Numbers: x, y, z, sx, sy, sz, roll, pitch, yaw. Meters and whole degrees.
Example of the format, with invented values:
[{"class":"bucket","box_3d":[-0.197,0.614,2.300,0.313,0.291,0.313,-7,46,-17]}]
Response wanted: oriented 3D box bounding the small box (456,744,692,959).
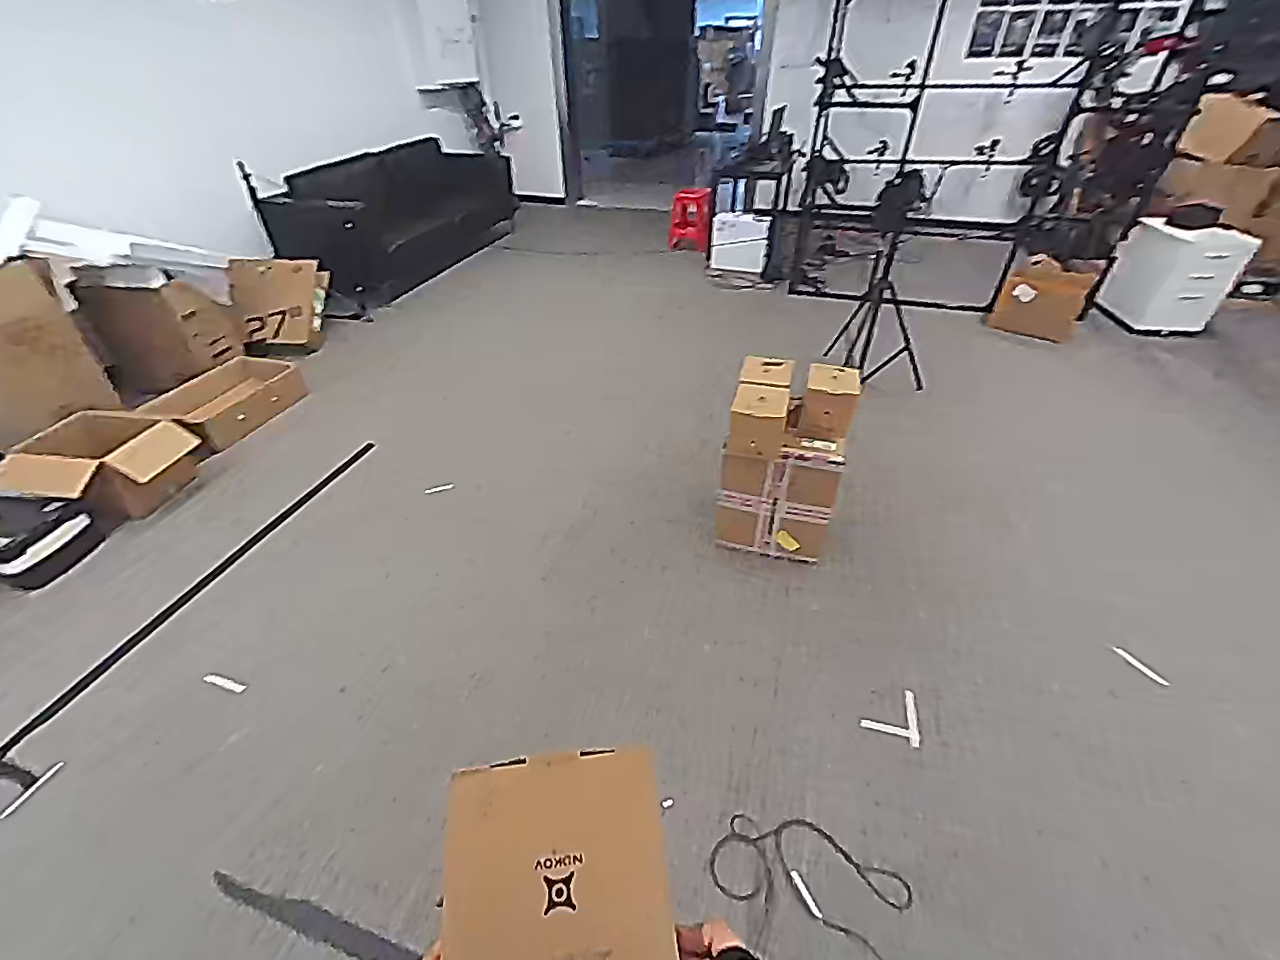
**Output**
[{"class":"small box","box_3d":[-0.058,0.346,0.465,0.168,0.176,0.179,-3,54,-8]}]
